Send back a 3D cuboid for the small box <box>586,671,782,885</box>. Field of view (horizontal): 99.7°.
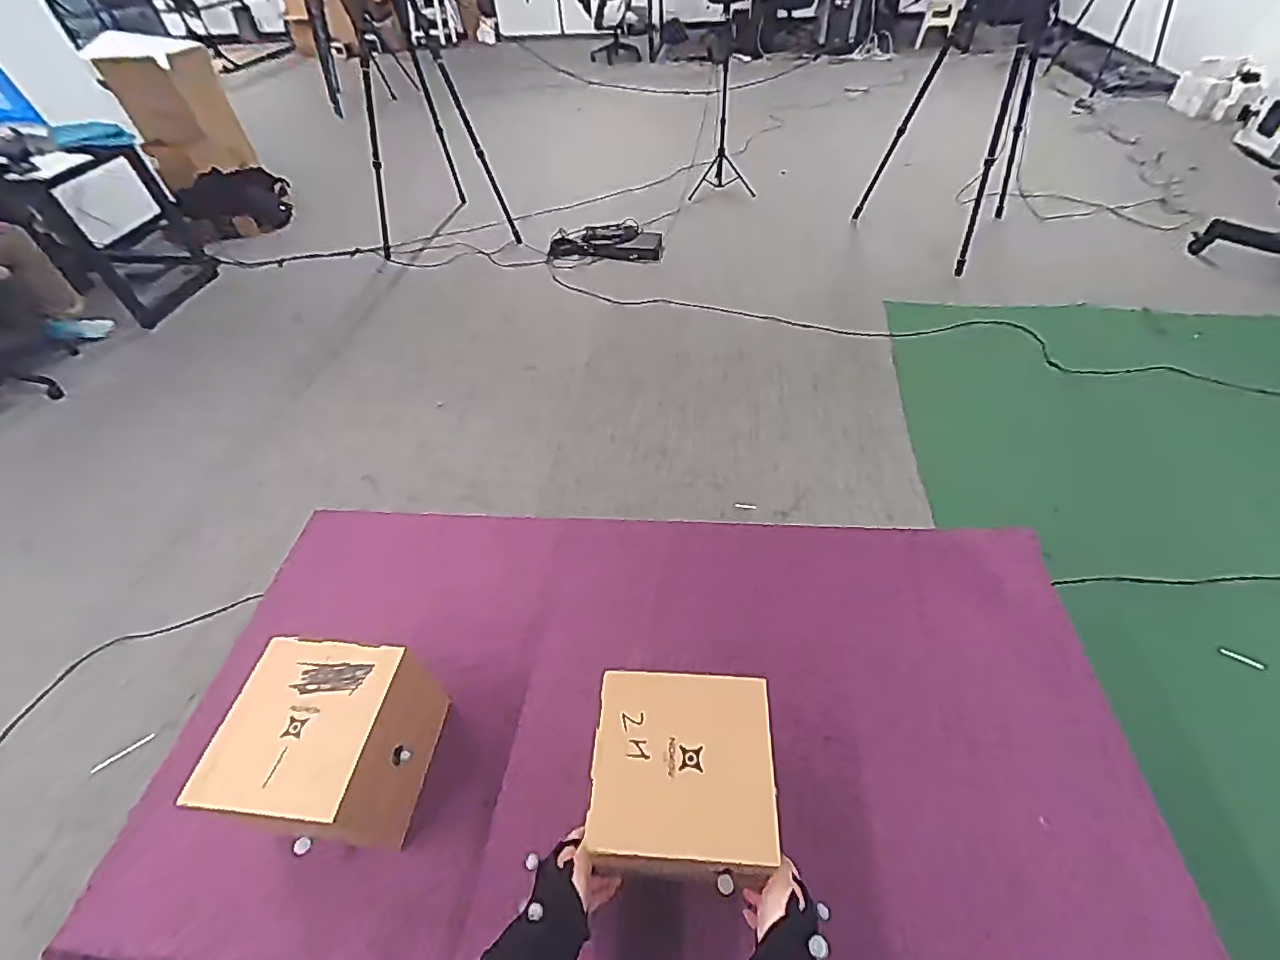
[{"bbox_3d":[0.049,0.325,0.588,0.179,0.176,0.168,1,47,6],"label":"small box"}]

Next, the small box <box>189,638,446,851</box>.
[{"bbox_3d":[-0.348,0.309,0.632,0.168,0.176,0.179,3,49,7],"label":"small box"}]
